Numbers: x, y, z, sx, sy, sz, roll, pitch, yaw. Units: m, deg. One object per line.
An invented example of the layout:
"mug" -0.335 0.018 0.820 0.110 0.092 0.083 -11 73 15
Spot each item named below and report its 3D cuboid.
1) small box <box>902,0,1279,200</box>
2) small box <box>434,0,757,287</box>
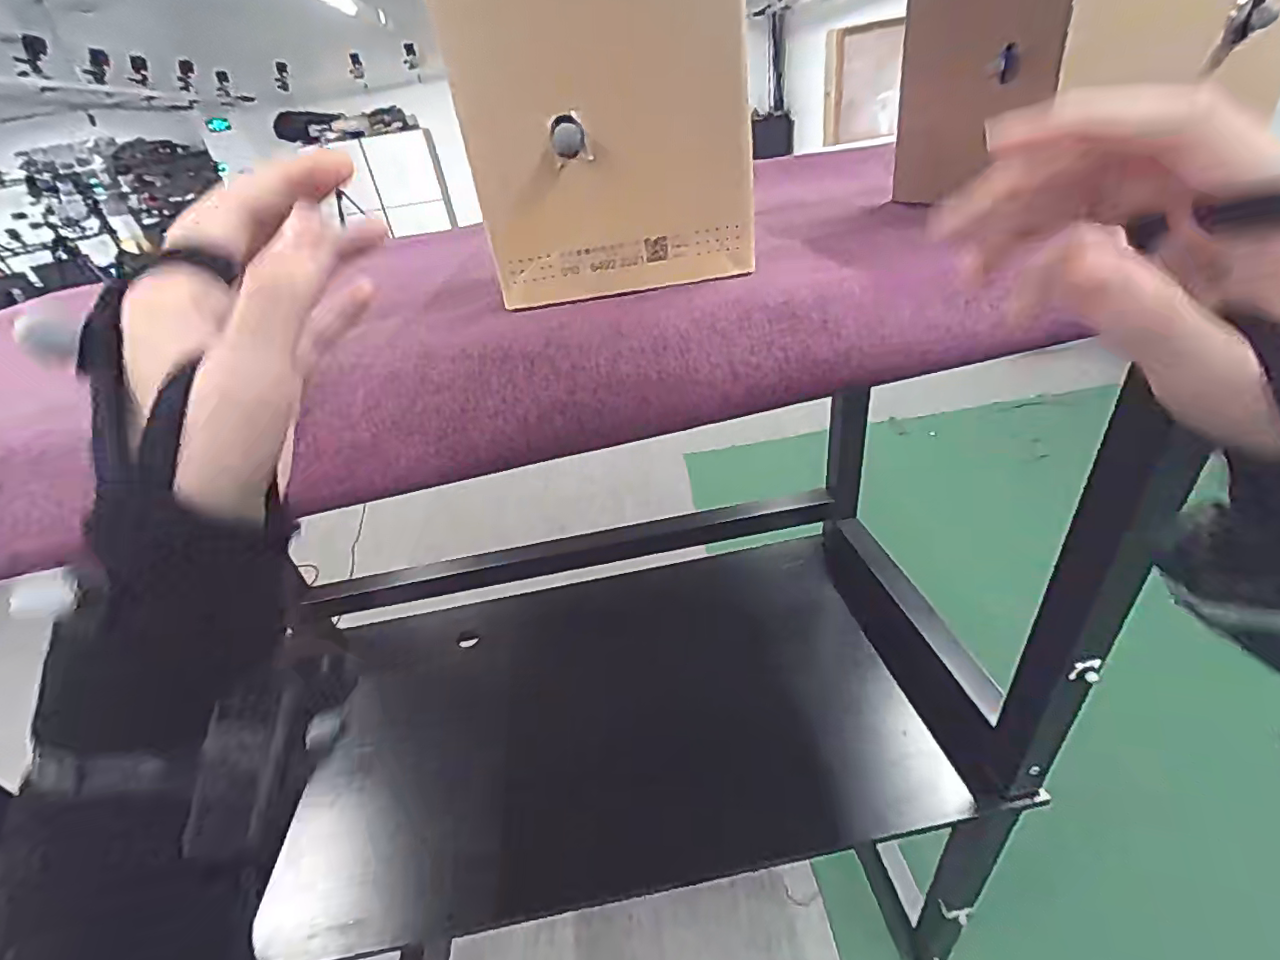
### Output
"small box" 0.319 -0.311 0.394 0.168 0.176 0.179 -12 31 -3
"small box" -0.016 -0.242 0.378 0.168 0.176 0.179 -8 31 3
